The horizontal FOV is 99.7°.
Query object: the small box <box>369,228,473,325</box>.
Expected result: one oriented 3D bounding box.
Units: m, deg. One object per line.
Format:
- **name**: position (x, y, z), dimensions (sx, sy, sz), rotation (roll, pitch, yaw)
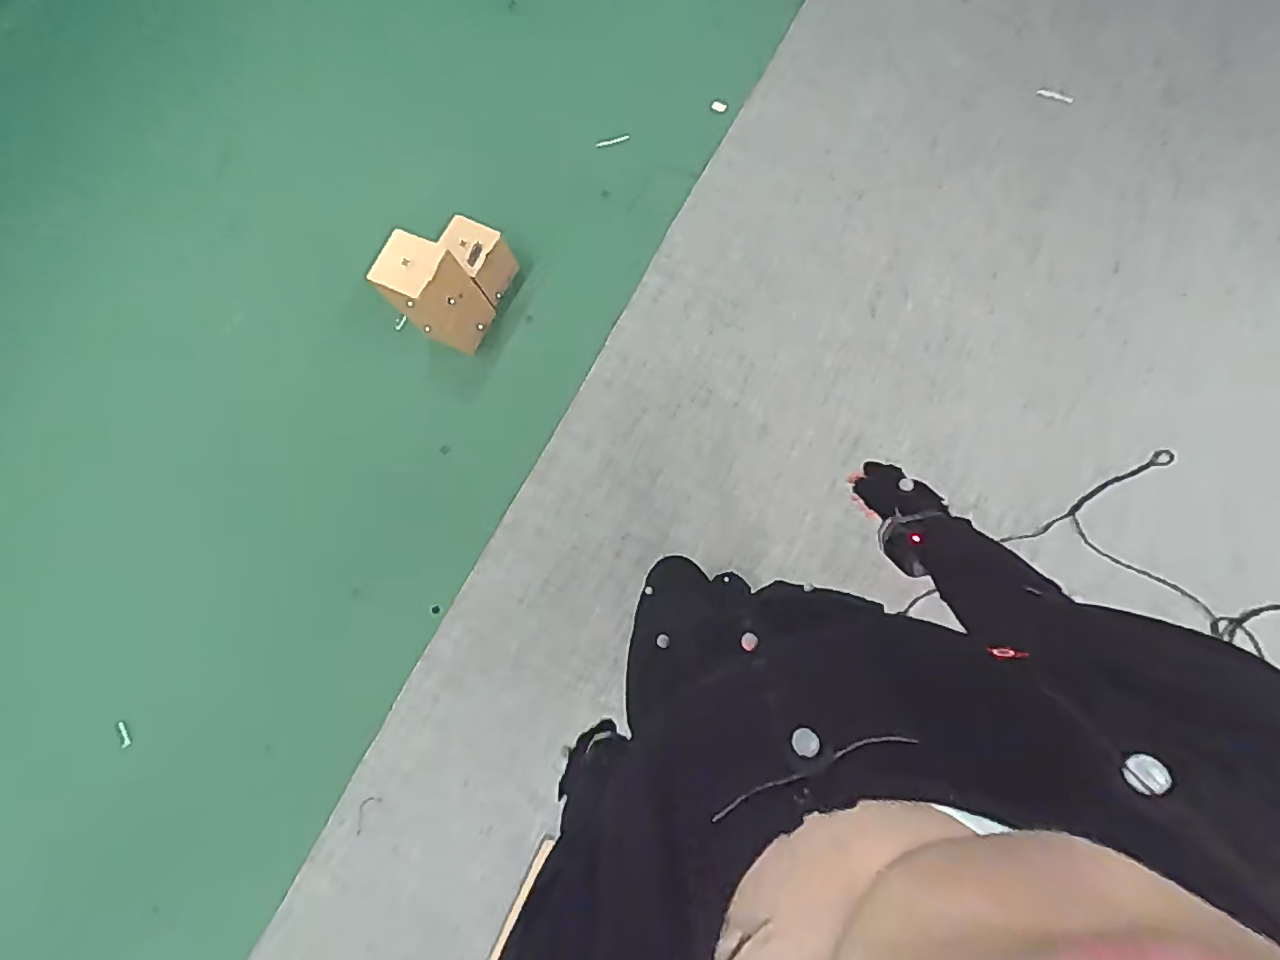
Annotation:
- **small box**: position (-0.606, -0.562, 1.516), dimensions (0.179, 0.176, 0.168), rotation (24, 81, 11)
